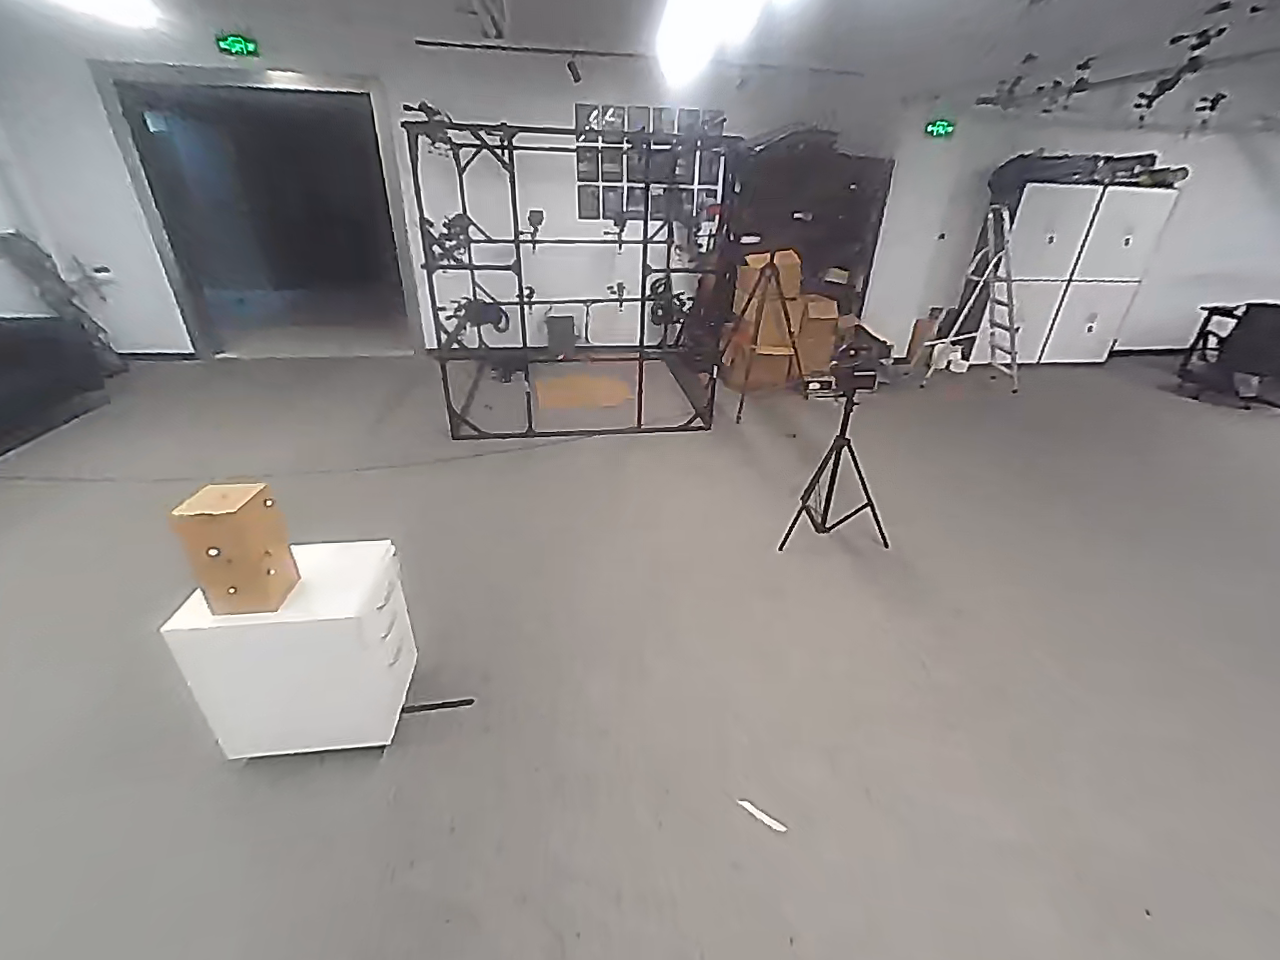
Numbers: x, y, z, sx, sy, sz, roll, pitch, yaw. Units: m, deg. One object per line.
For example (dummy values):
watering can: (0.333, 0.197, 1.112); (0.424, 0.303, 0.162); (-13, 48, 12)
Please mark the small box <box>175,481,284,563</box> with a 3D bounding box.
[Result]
small box: (-1.135, 0.115, 1.516); (0.168, 0.176, 0.179); (-2, 28, -4)
